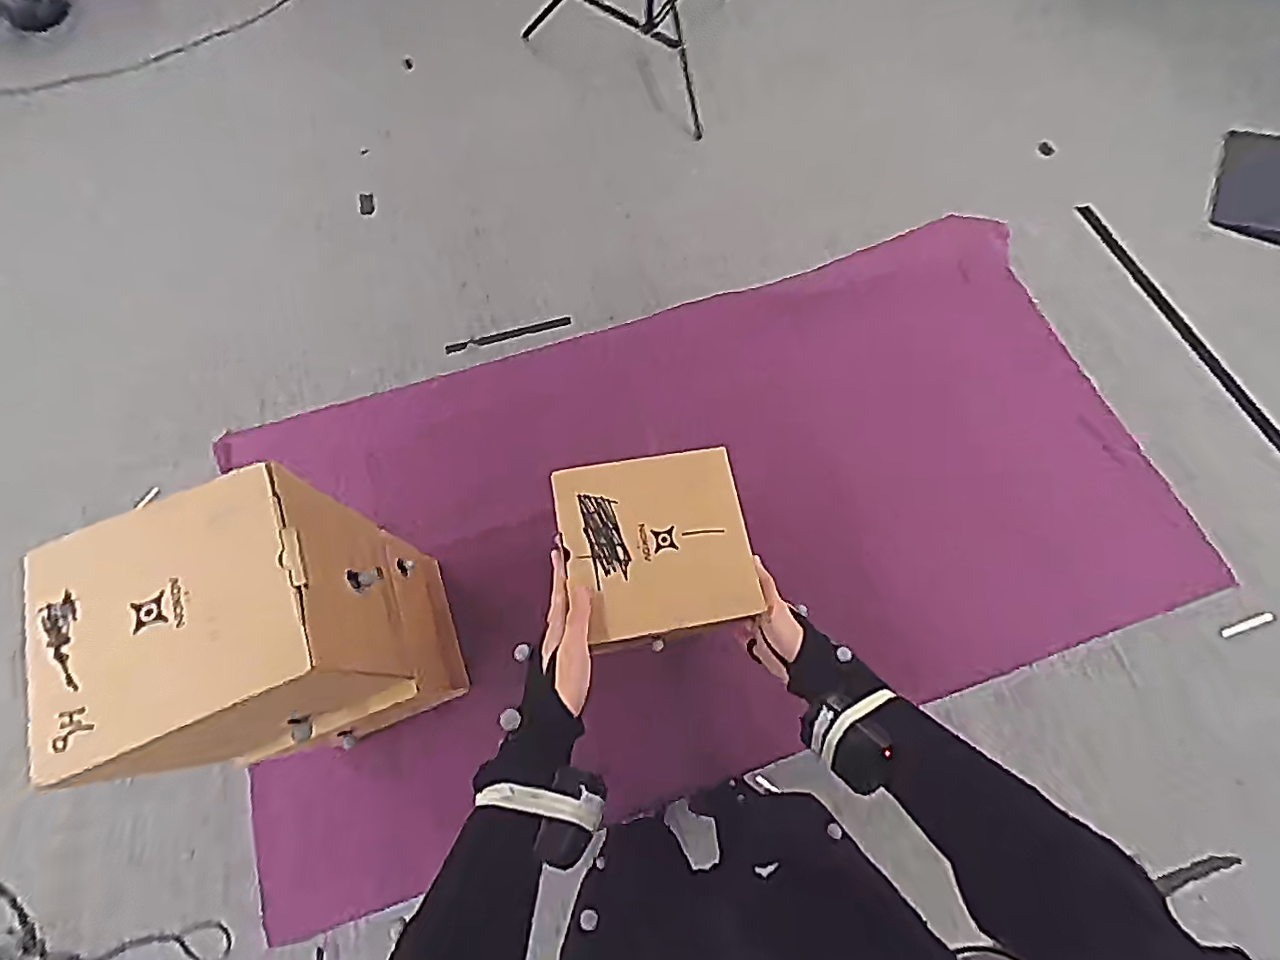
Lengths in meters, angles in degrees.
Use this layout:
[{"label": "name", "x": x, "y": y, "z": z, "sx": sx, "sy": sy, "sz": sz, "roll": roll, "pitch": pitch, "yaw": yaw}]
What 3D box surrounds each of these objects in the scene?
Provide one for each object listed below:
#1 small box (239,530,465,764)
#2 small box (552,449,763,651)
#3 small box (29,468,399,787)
[{"label": "small box", "x": -0.312, "y": 0.181, "z": 0.596, "sx": 0.168, "sy": 0.176, "sz": 0.179, "roll": -21, "pitch": 70, "yaw": -7}, {"label": "small box", "x": 0.010, "y": 0.083, "z": 0.575, "sx": 0.179, "sy": 0.176, "sz": 0.168, "roll": -8, "pitch": 71, "yaw": -7}, {"label": "small box", "x": -0.322, "y": 0.118, "z": 0.445, "sx": 0.179, "sy": 0.176, "sz": 0.168, "roll": -22, "pitch": 70, "yaw": -9}]
